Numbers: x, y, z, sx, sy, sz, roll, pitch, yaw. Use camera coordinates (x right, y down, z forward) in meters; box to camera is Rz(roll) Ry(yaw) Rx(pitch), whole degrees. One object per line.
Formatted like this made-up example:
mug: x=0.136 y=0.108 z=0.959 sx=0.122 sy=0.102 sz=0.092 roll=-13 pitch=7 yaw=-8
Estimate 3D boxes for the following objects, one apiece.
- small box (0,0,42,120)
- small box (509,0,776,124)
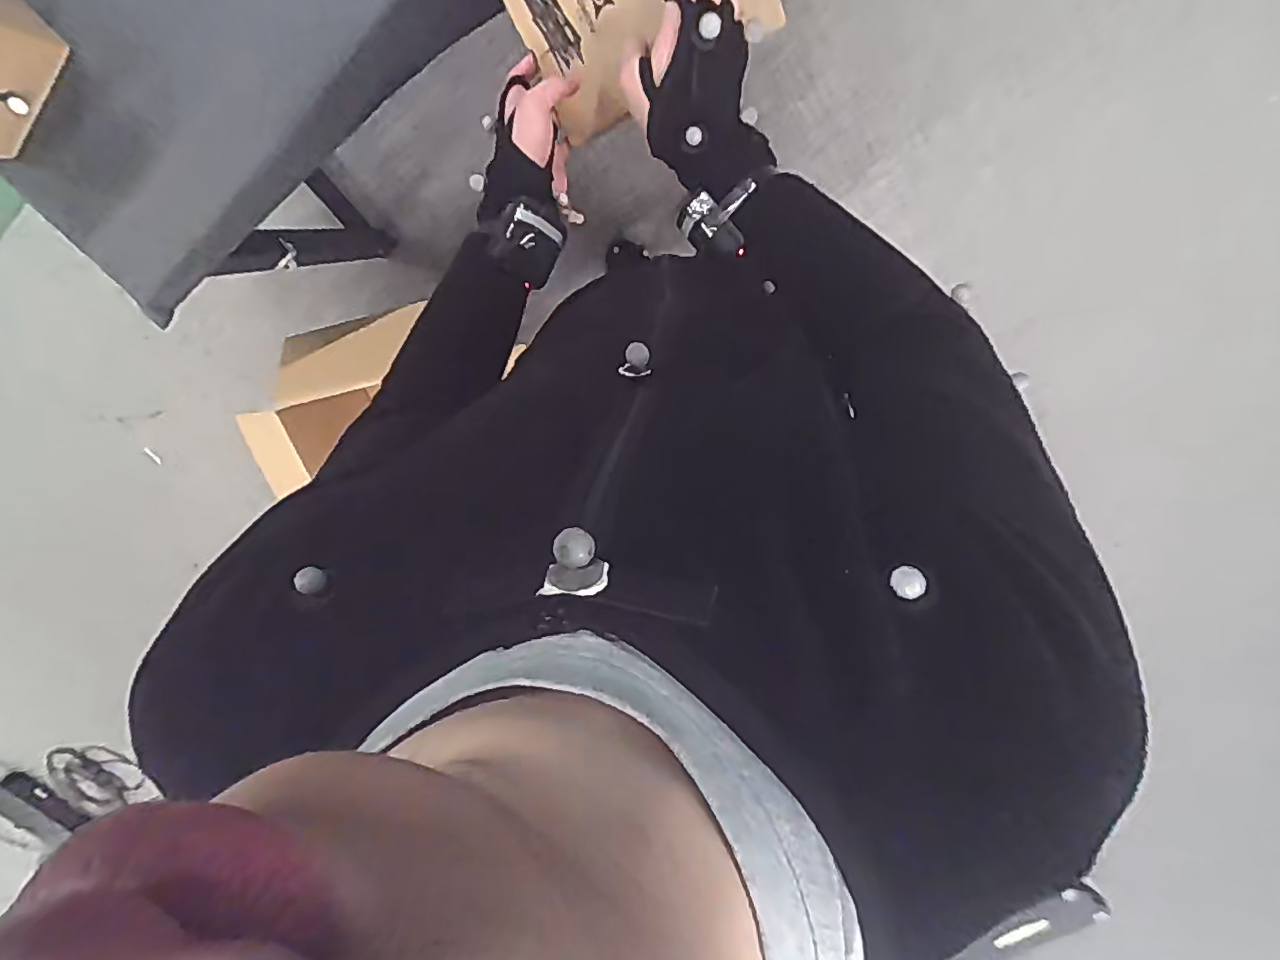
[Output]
small box: x=-0.792 y=-0.497 z=0.549 sx=0.179 sy=0.176 sz=0.168 roll=-39 pitch=108 yaw=17
small box: x=-0.001 y=-0.459 z=0.483 sx=0.179 sy=0.176 sz=0.168 roll=-2 pitch=128 yaw=41
